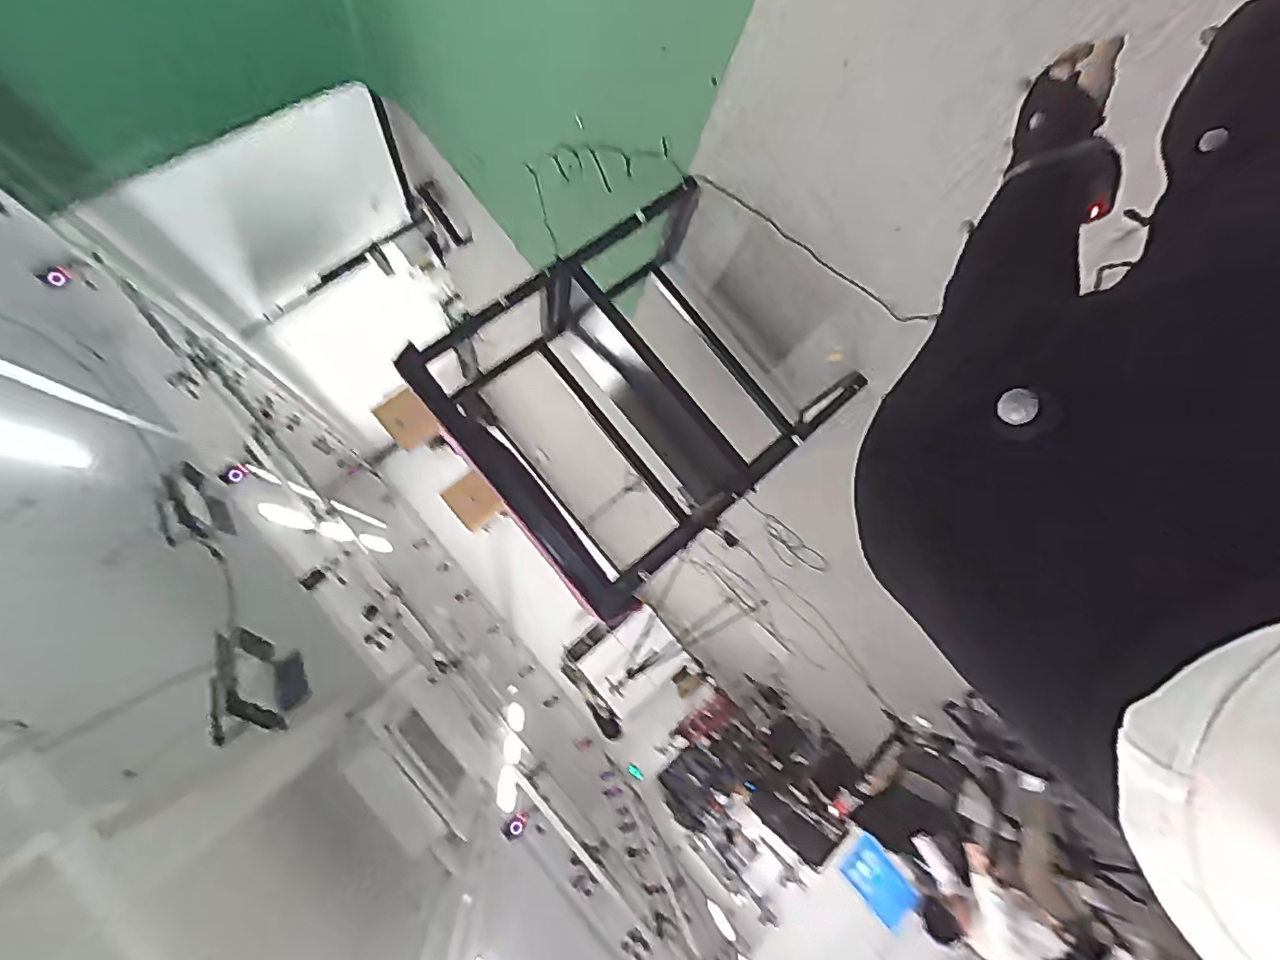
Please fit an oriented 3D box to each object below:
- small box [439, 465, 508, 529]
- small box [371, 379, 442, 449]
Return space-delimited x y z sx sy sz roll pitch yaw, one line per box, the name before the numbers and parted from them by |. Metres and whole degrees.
small box | -0.615 0.061 2.016 0.179 0.176 0.168 50 166 1
small box | -0.858 -0.245 2.015 0.179 0.176 0.168 52 163 -3
